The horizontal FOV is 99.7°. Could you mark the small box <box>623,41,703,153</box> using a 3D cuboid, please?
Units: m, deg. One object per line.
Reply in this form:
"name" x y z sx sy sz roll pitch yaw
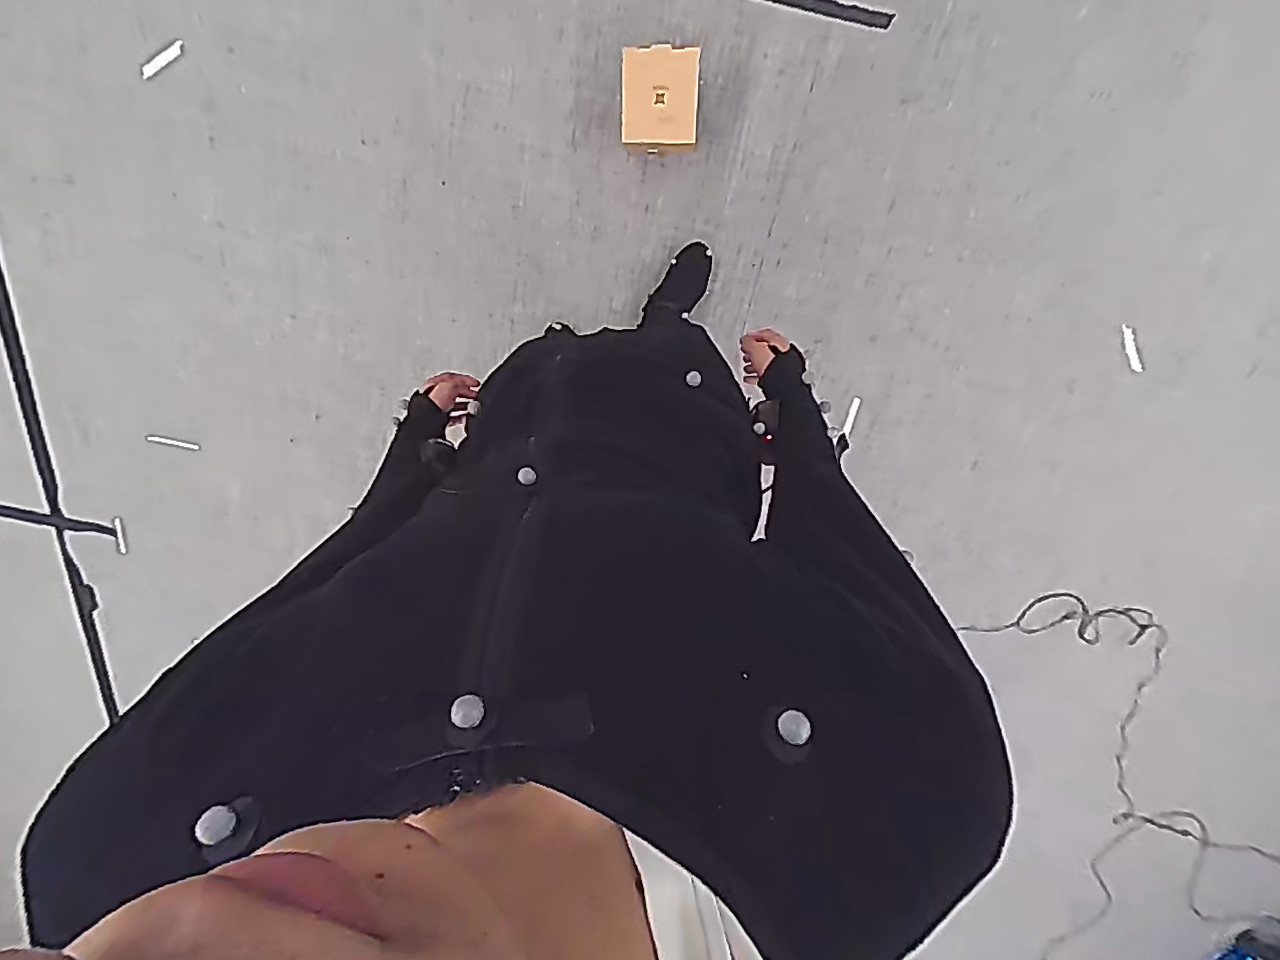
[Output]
"small box" 0.047 -0.859 1.226 0.168 0.176 0.179 2 114 1
